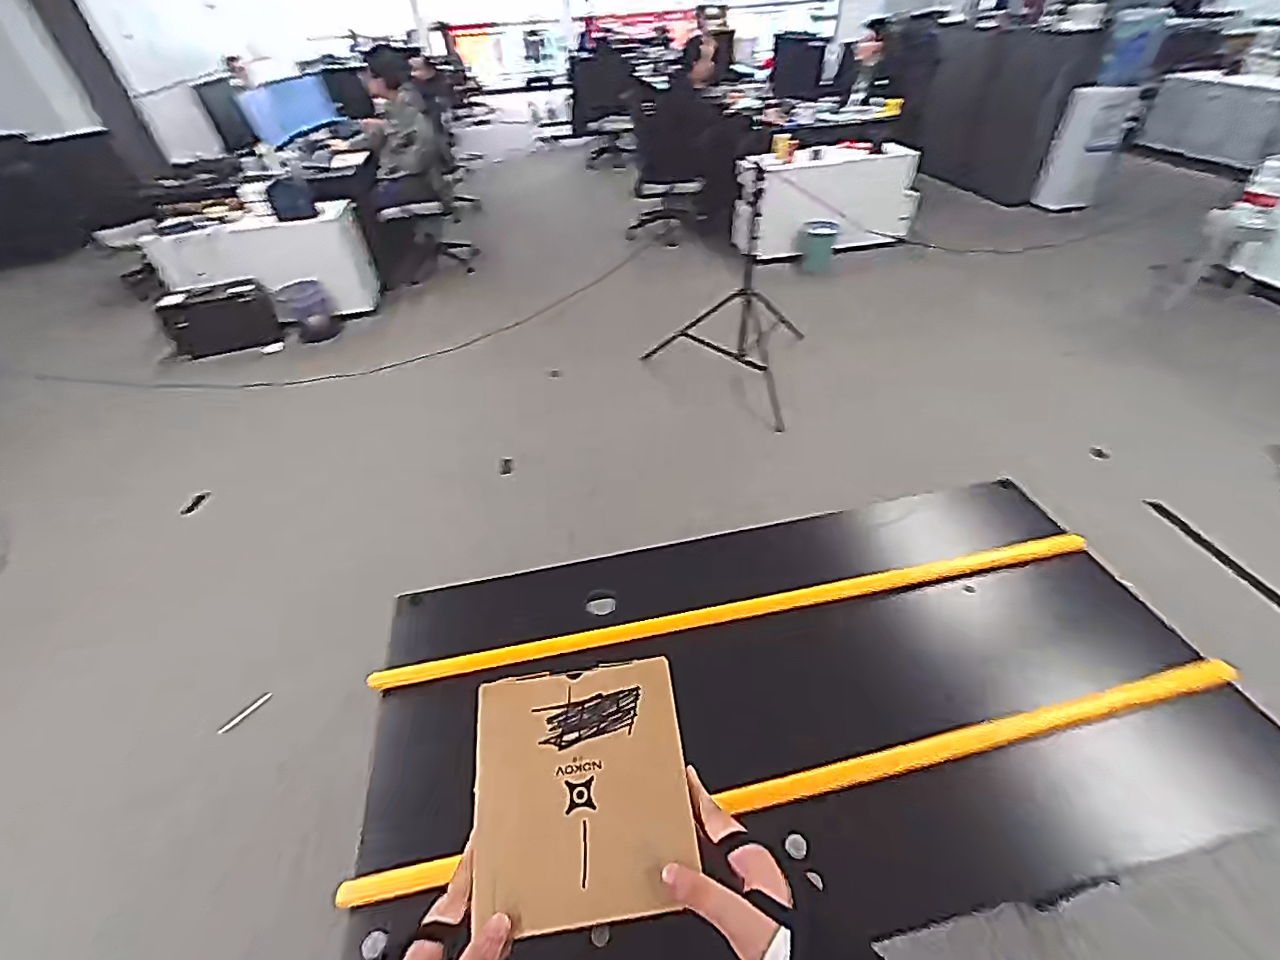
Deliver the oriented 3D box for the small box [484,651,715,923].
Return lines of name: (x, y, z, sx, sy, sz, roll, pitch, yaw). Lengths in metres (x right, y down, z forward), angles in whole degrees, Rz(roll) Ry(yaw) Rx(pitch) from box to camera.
small box: (-0.034, 0.277, 0.491, 0.168, 0.176, 0.179, -8, 54, -2)
